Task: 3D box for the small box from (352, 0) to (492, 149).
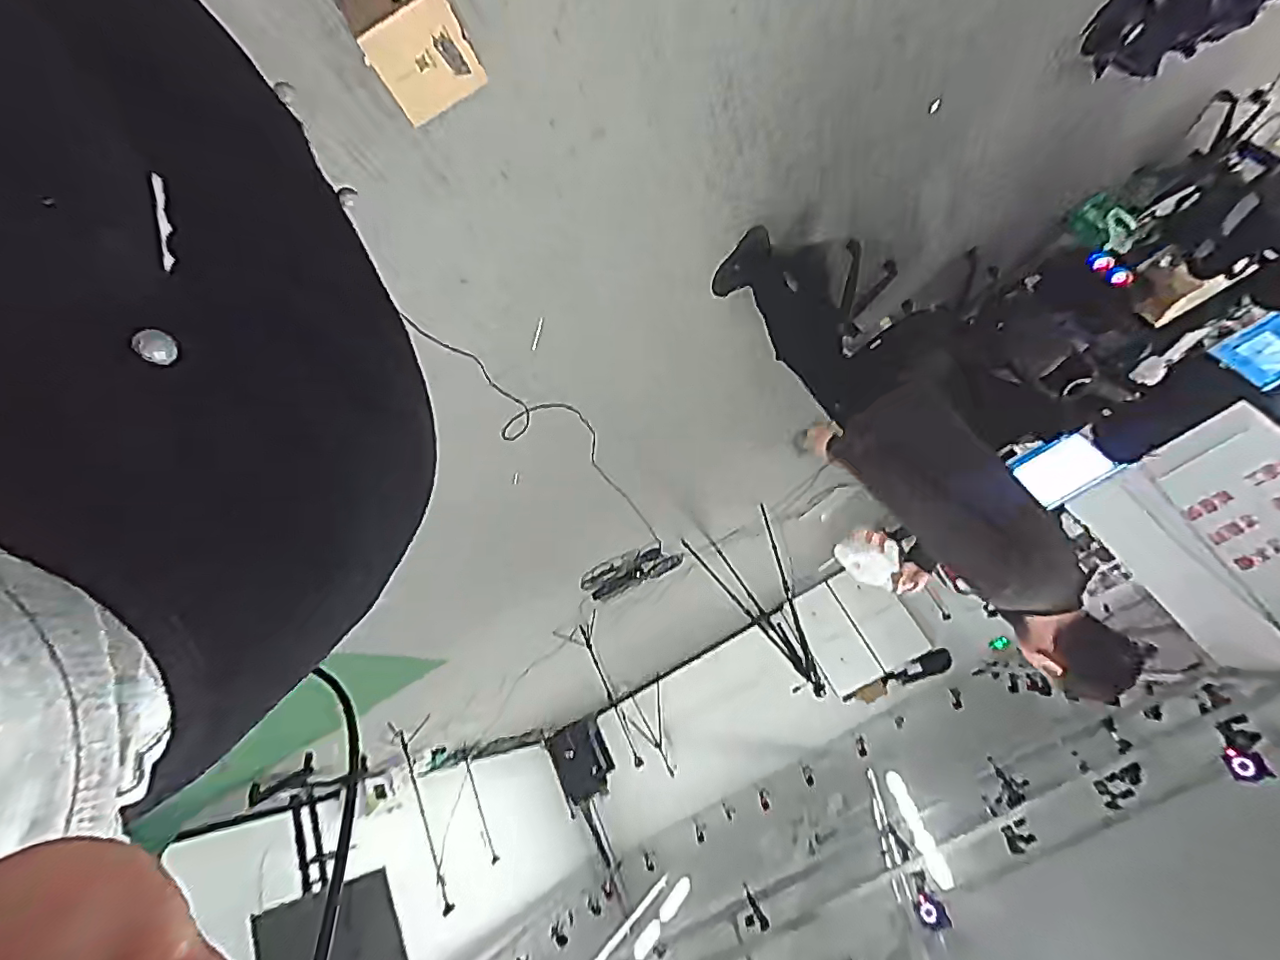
[{"bbox_3d":[-0.424,-0.803,1.049,0.179,0.176,0.168,-31,152,5],"label":"small box"}]
